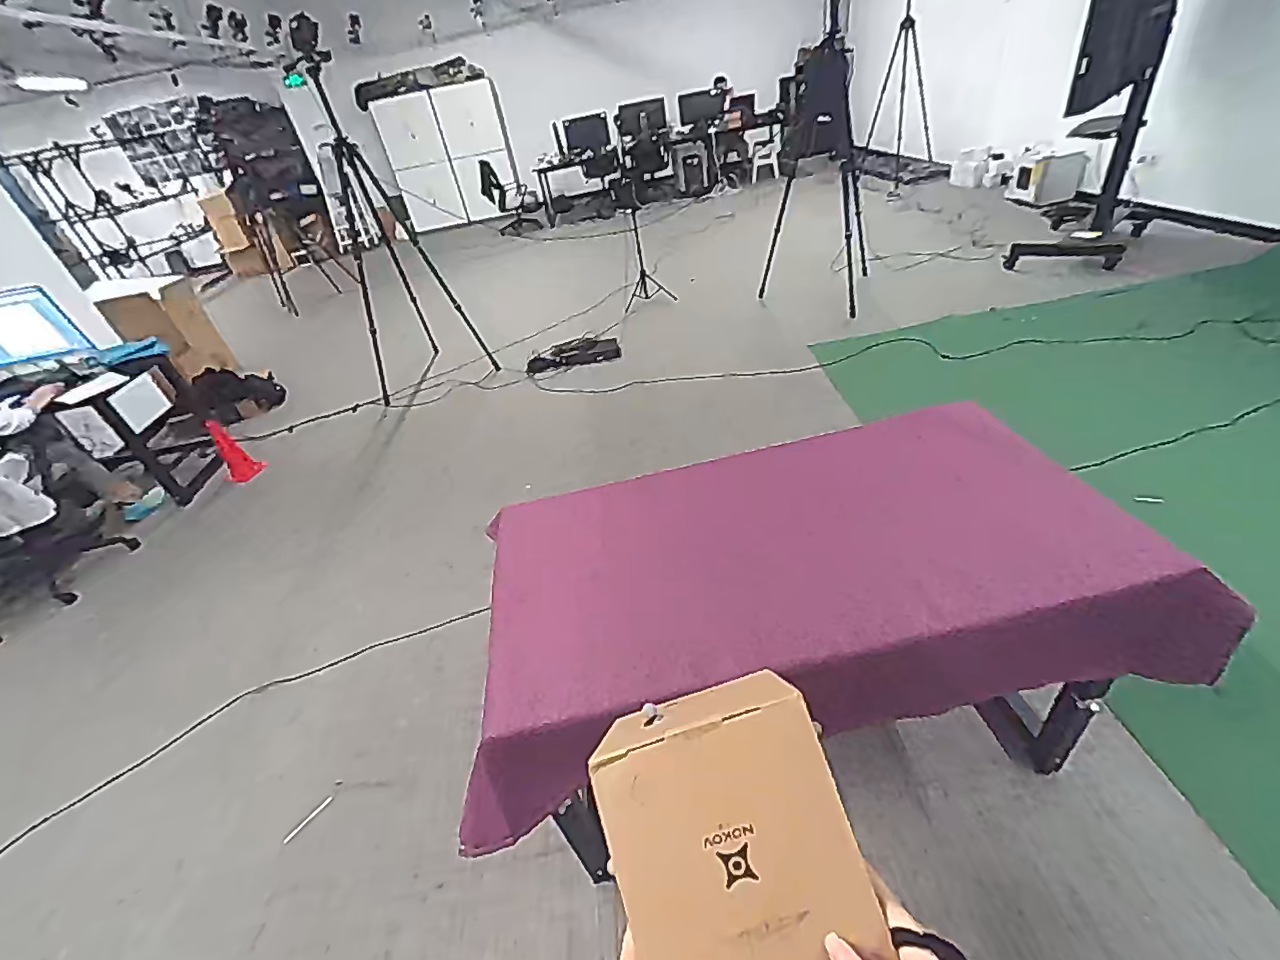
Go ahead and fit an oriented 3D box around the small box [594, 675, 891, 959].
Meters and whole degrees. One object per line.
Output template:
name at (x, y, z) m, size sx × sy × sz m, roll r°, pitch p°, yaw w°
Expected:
small box at (0.071, 0.274, 0.455) m, size 0.168 × 0.176 × 0.179 m, roll -18°, pitch 76°, yaw 1°
